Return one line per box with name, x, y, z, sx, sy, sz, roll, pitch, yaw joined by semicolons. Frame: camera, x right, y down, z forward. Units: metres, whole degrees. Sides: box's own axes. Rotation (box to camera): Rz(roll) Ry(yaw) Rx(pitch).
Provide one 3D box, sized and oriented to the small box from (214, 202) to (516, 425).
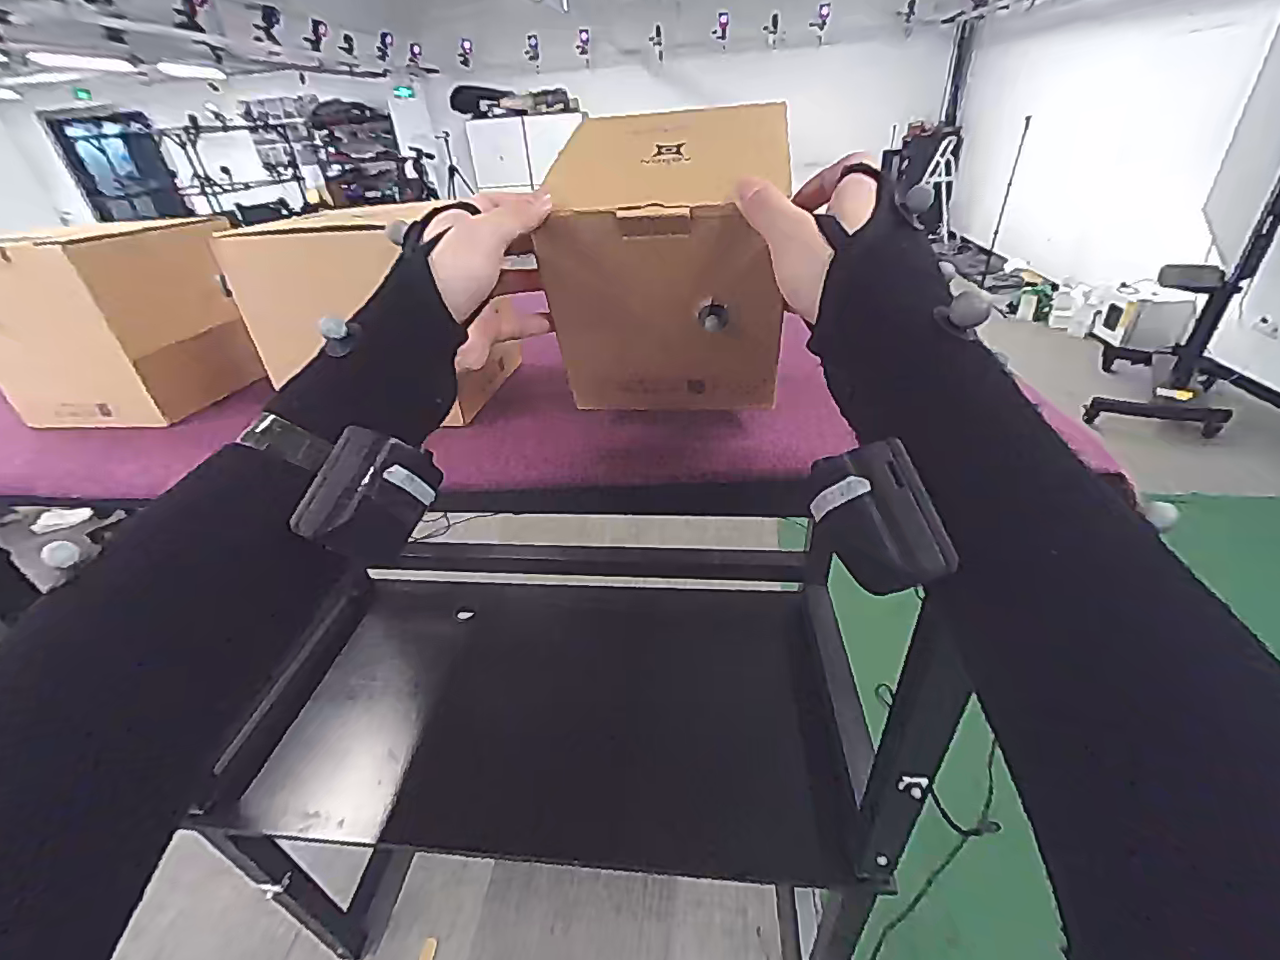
small box;-0.232;-0.160;0.516;0.179;0.176;0.168;1;32;7
